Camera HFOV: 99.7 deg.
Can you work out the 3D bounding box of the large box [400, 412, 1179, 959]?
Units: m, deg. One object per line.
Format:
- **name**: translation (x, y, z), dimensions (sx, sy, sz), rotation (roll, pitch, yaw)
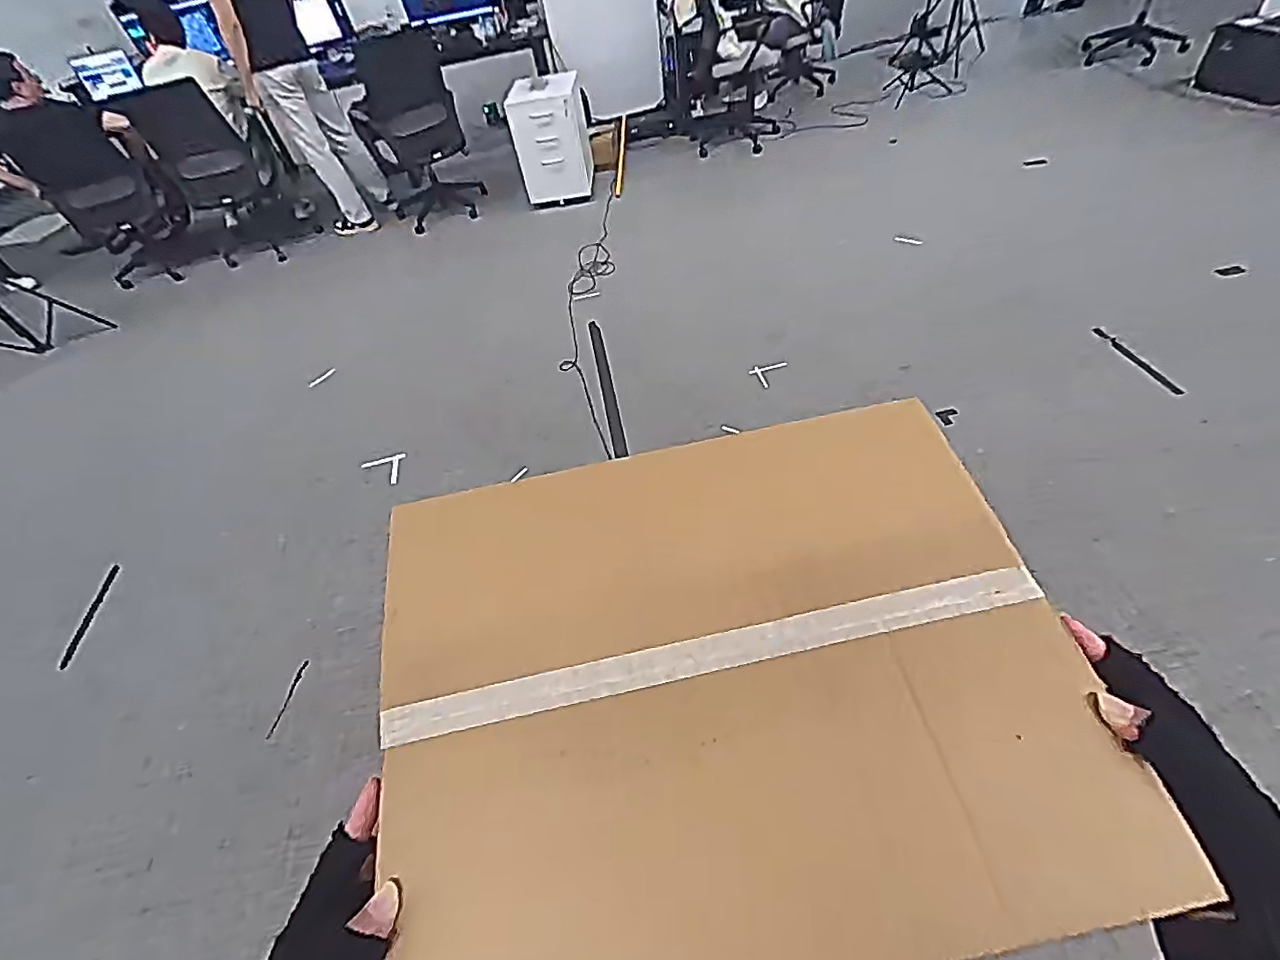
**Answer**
- **large box**: translation (0.060, 0.193, 0.465), dimensions (0.408, 0.320, 0.320), rotation (-13, 59, -2)
